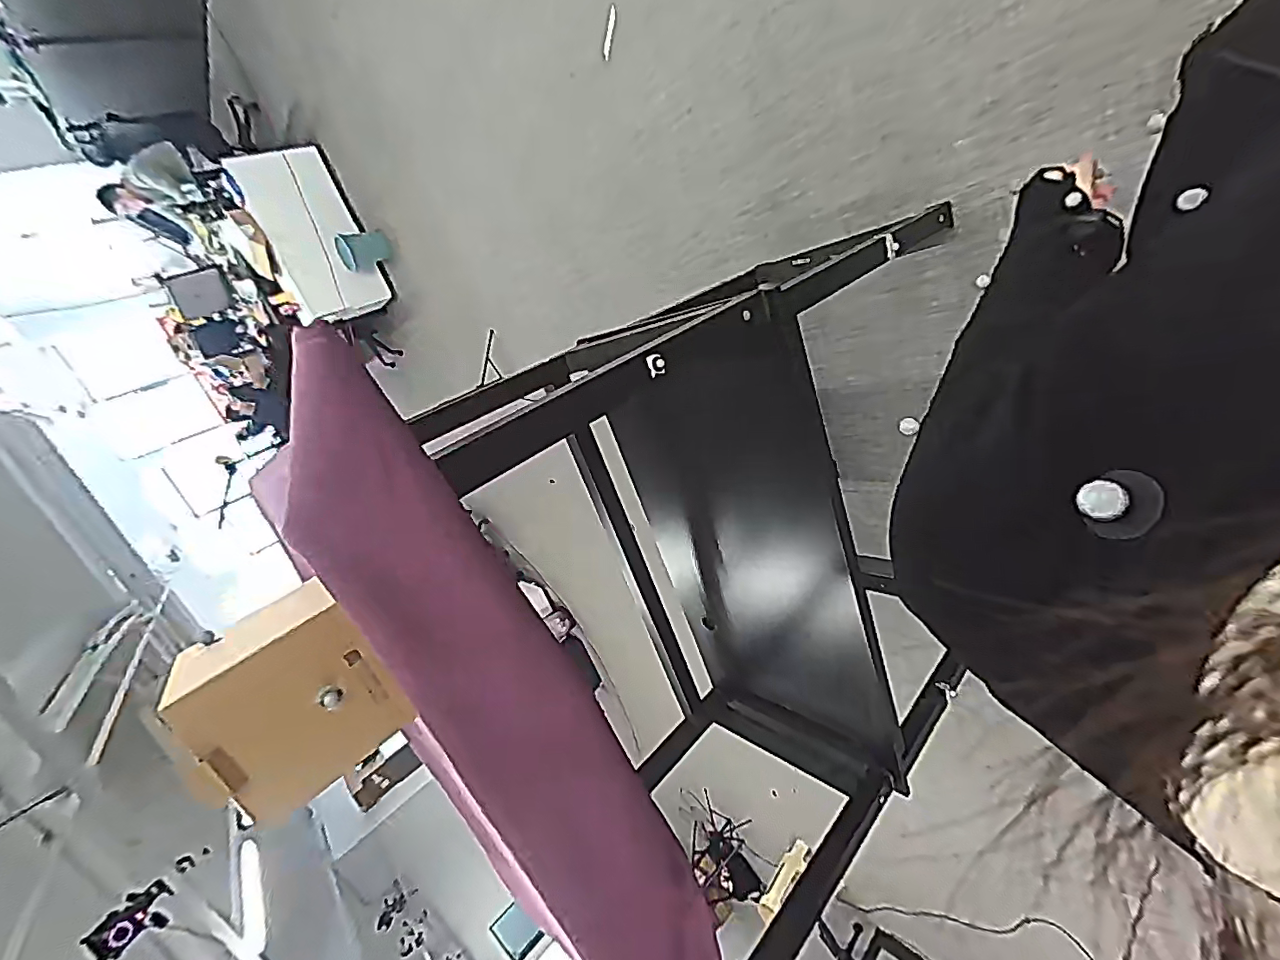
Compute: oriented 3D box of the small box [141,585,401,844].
[{"bbox_3d":[-0.394,0.238,0.601,0.179,0.176,0.168,2,120,53],"label":"small box"}]
